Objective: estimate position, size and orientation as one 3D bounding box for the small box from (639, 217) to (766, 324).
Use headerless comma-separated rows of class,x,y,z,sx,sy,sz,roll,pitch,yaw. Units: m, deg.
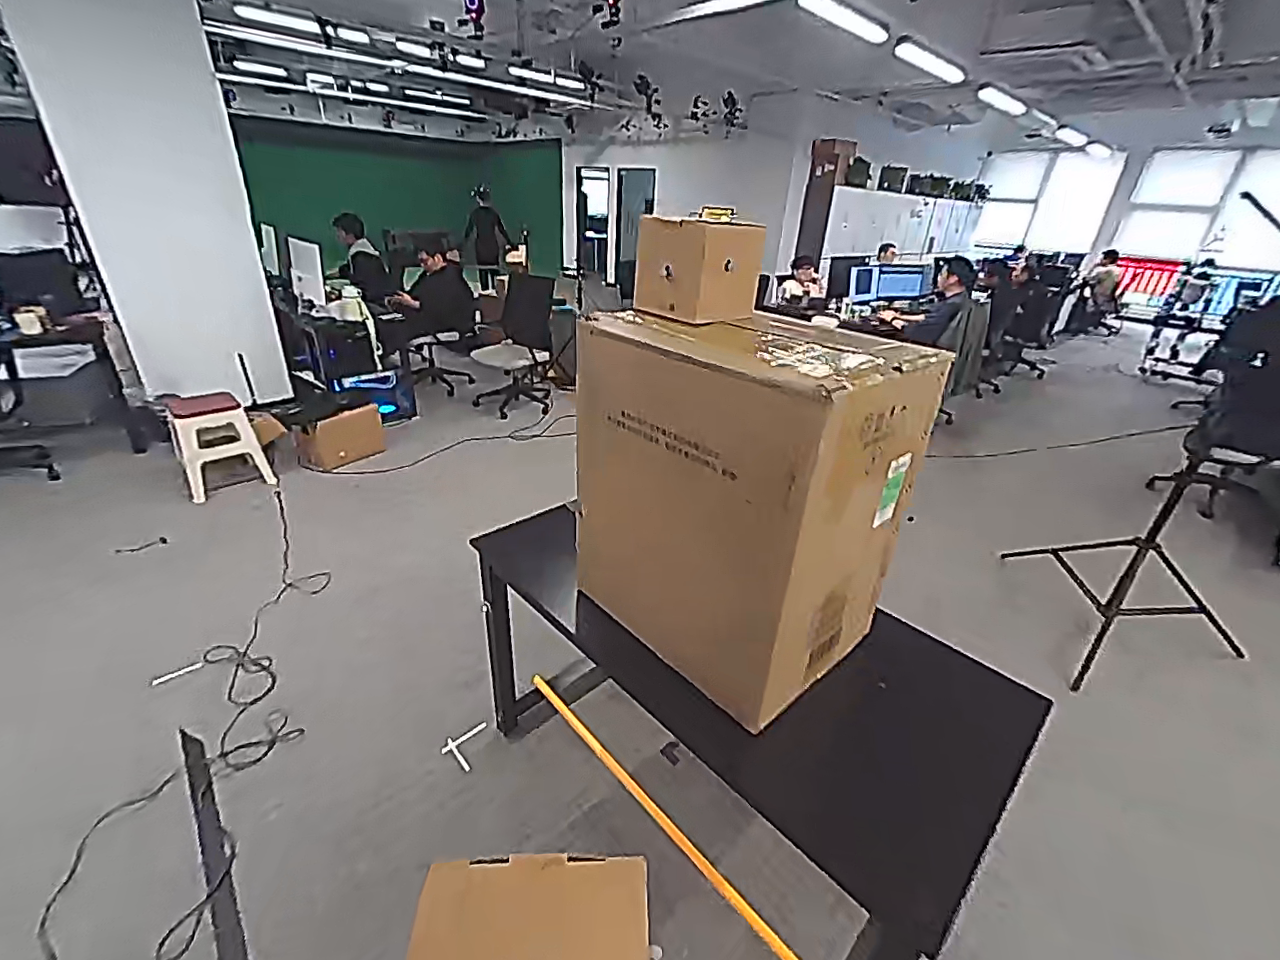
small box,0.113,-0.397,1.020,0.179,0.176,0.168,-21,37,-40
